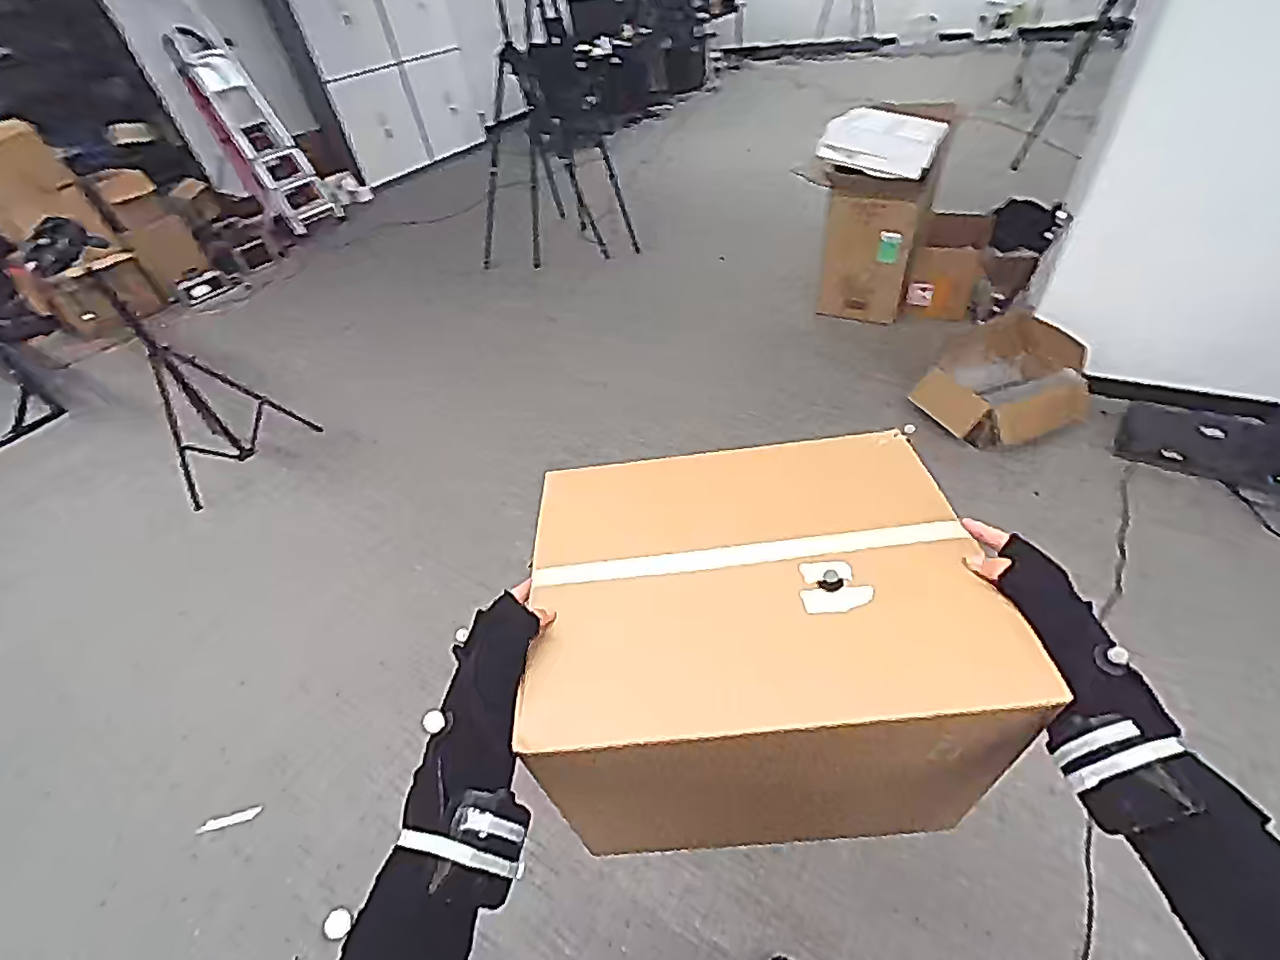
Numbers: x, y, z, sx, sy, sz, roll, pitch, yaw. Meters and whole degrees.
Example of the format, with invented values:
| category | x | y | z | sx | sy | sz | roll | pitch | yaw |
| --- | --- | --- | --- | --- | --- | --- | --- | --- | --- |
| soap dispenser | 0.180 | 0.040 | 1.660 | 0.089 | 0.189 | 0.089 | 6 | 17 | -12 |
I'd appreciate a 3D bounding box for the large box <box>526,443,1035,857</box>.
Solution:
| category | x | y | z | sx | sy | sz | roll | pitch | yaw |
| --- | --- | --- | --- | --- | --- | --- | --- | --- | --- |
| large box | 0.113 | 0.194 | 0.621 | 0.408 | 0.320 | 0.320 | -7 | 43 | 2 |
